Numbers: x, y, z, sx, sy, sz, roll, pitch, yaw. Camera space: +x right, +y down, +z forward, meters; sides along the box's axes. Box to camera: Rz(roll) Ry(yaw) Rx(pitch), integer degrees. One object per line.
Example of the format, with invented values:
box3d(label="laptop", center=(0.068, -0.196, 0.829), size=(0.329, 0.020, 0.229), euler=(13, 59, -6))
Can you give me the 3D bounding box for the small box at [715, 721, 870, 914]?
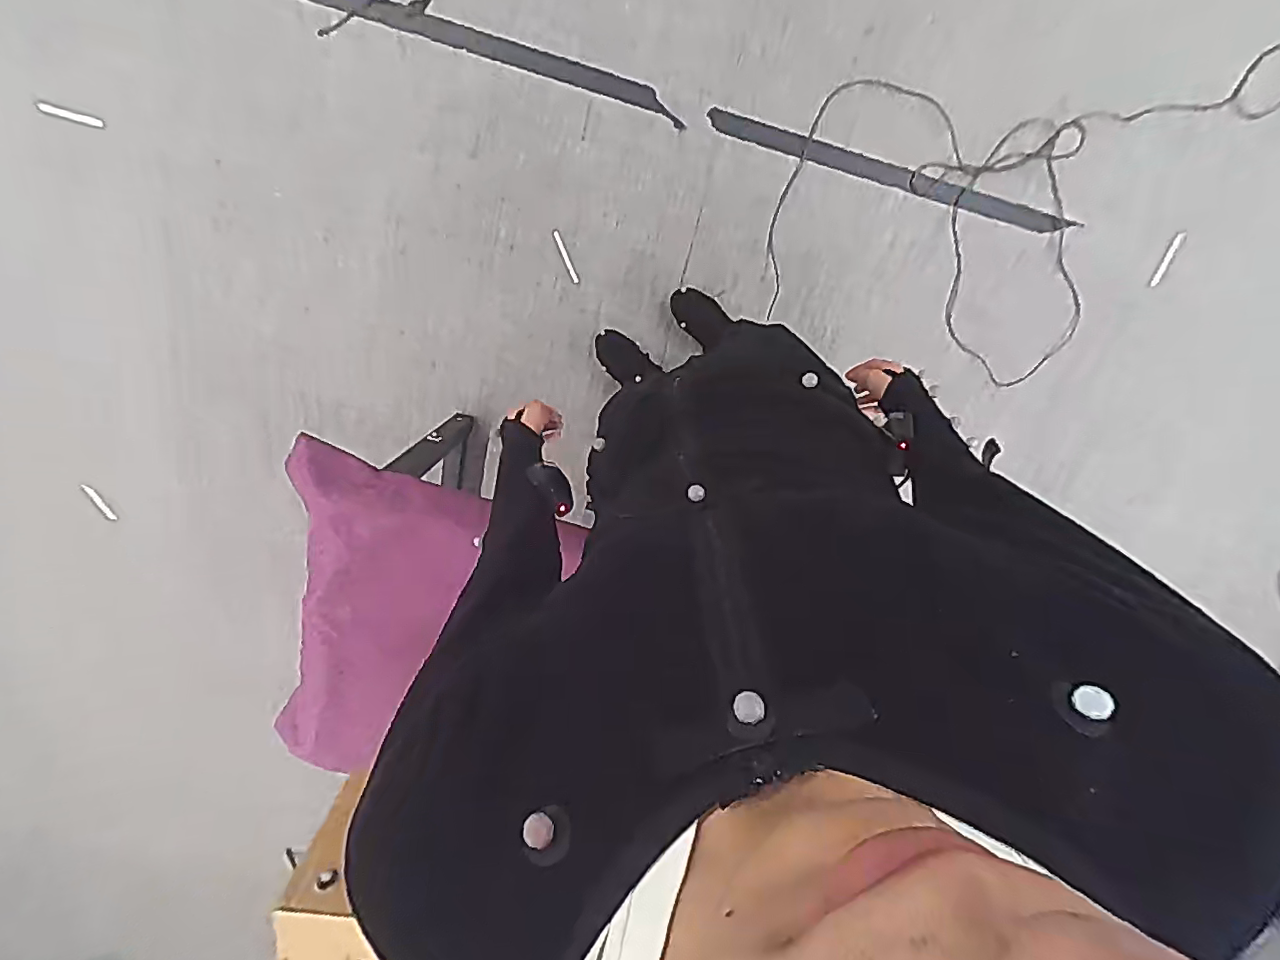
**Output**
box3d(label="small box", center=(0.215, 0.503, 0.818), size=(0.168, 0.176, 0.179), euler=(8, 109, -3))
